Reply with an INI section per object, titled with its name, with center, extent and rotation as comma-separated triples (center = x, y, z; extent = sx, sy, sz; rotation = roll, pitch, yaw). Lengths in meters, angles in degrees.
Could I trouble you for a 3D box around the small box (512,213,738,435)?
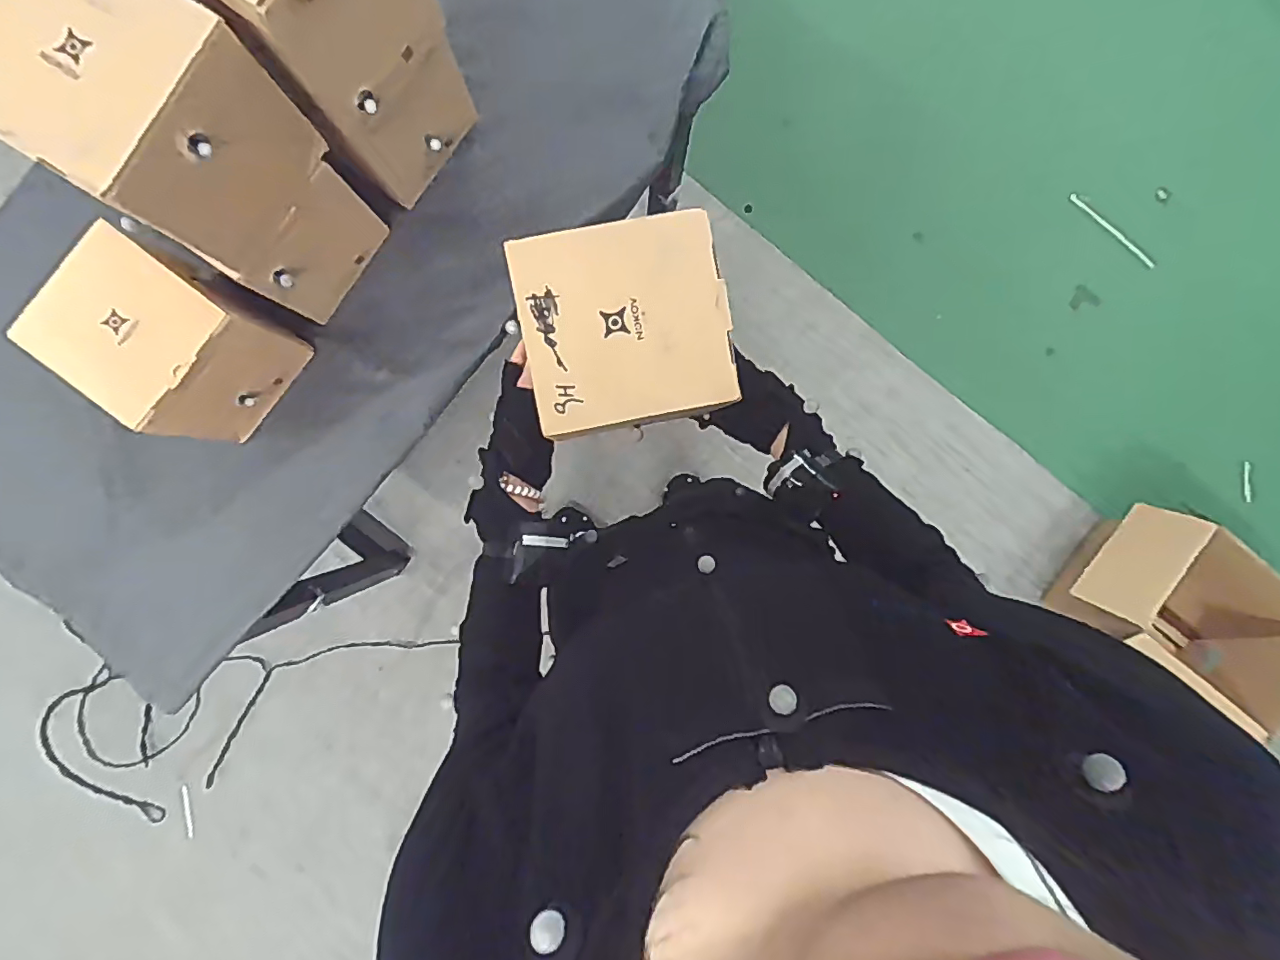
[small box]
center = -0.018, -0.140, 0.541
extent = 0.179, 0.176, 0.168
rotation = -10, 93, -4
